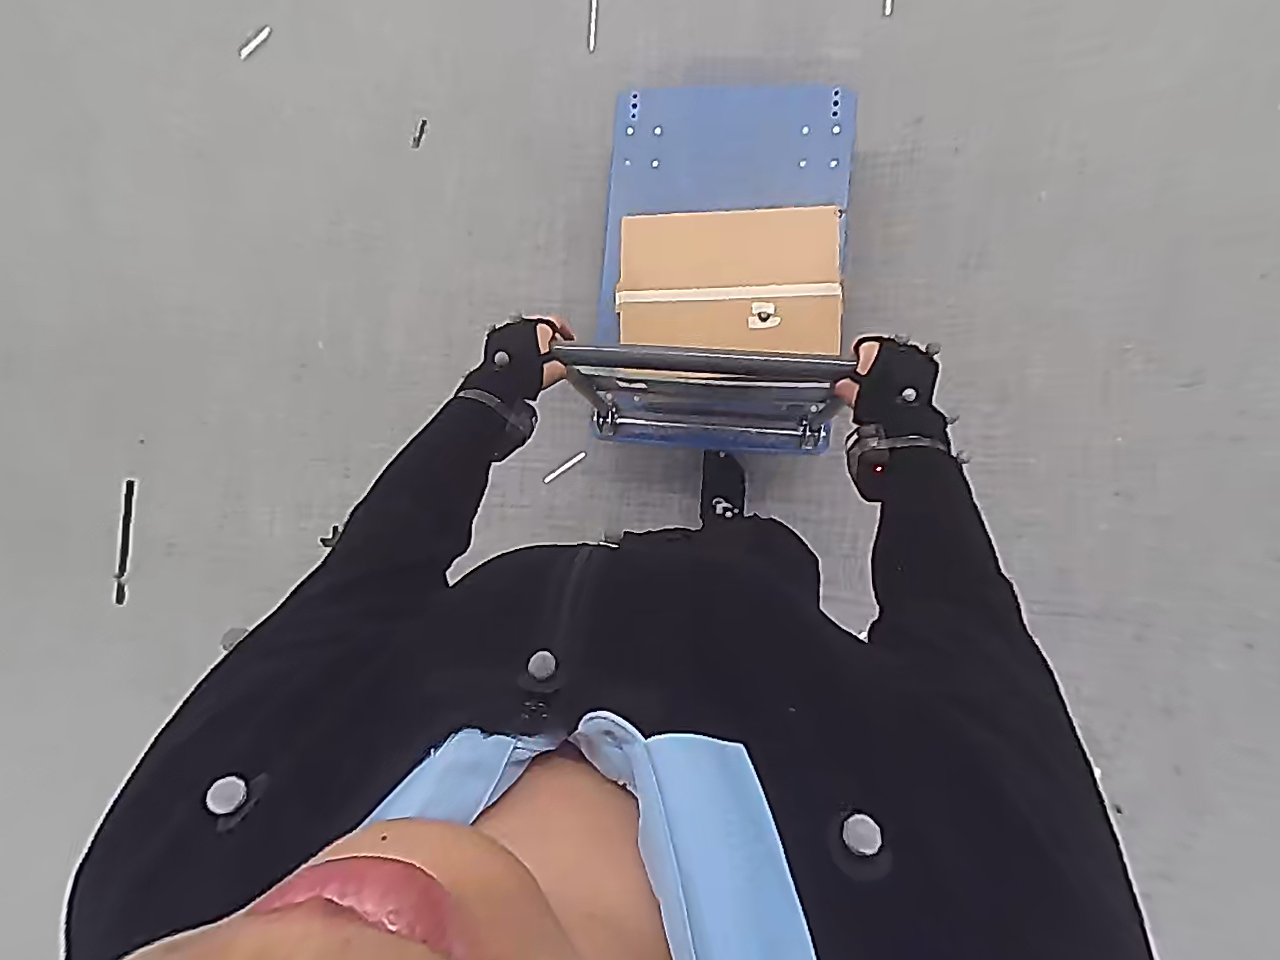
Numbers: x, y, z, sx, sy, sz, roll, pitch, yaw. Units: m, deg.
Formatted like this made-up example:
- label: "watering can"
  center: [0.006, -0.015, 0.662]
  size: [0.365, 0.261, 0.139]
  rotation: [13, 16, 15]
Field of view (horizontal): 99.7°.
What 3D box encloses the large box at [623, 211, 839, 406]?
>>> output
- label: "large box"
  center: [0.181, -0.339, 1.162]
  size: [0.408, 0.320, 0.320]
  rotation: [0, 90, 6]
